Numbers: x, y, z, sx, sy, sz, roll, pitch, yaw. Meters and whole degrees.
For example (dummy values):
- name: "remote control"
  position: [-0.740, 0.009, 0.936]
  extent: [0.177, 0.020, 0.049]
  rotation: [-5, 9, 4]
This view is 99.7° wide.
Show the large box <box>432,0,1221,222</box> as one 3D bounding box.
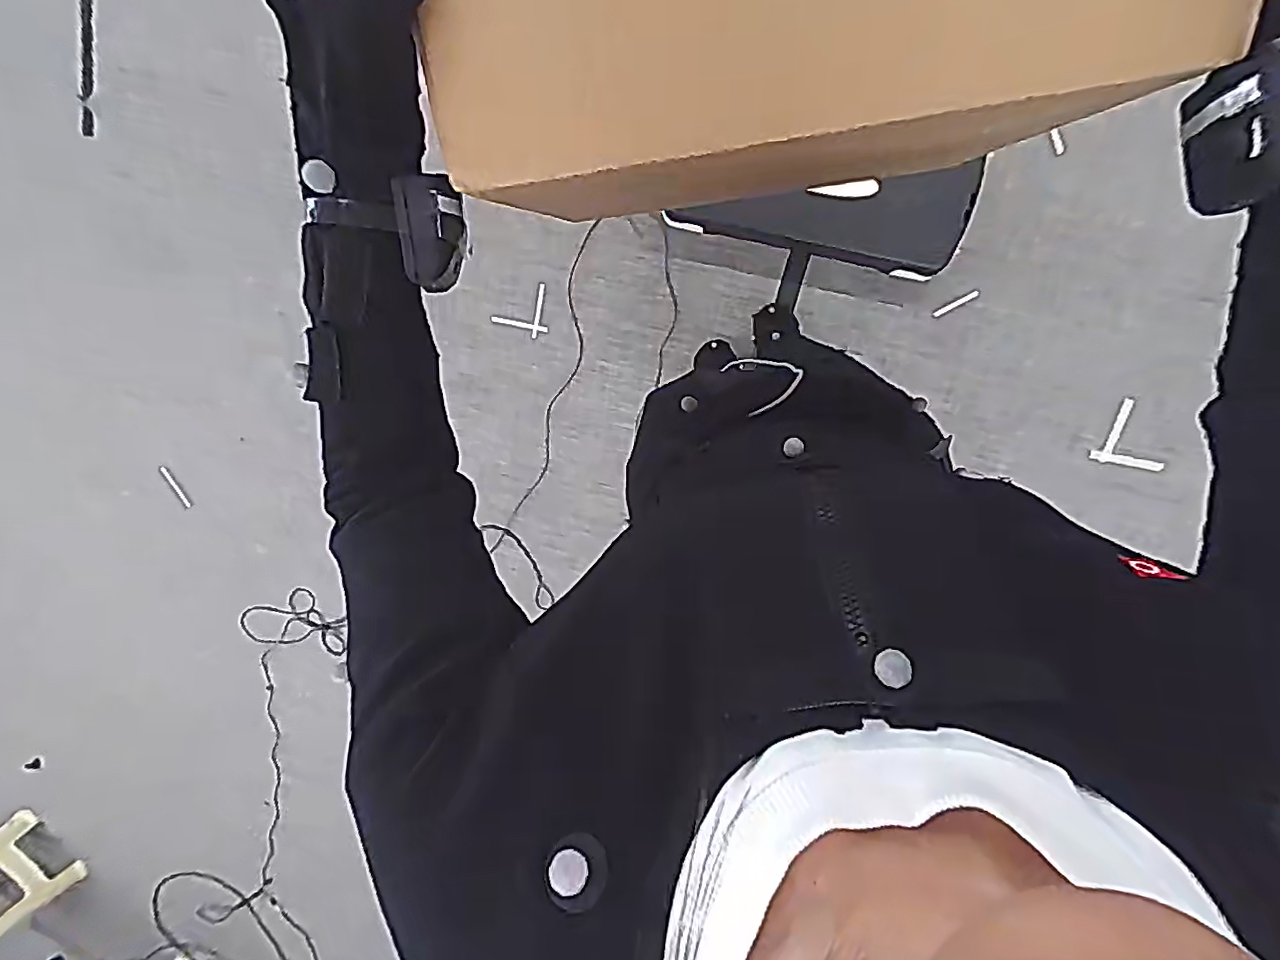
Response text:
- name: "large box"
  position: [0.083, -0.393, 0.384]
  extent: [0.408, 0.320, 0.320]
  rotation: [-6, 112, 7]
